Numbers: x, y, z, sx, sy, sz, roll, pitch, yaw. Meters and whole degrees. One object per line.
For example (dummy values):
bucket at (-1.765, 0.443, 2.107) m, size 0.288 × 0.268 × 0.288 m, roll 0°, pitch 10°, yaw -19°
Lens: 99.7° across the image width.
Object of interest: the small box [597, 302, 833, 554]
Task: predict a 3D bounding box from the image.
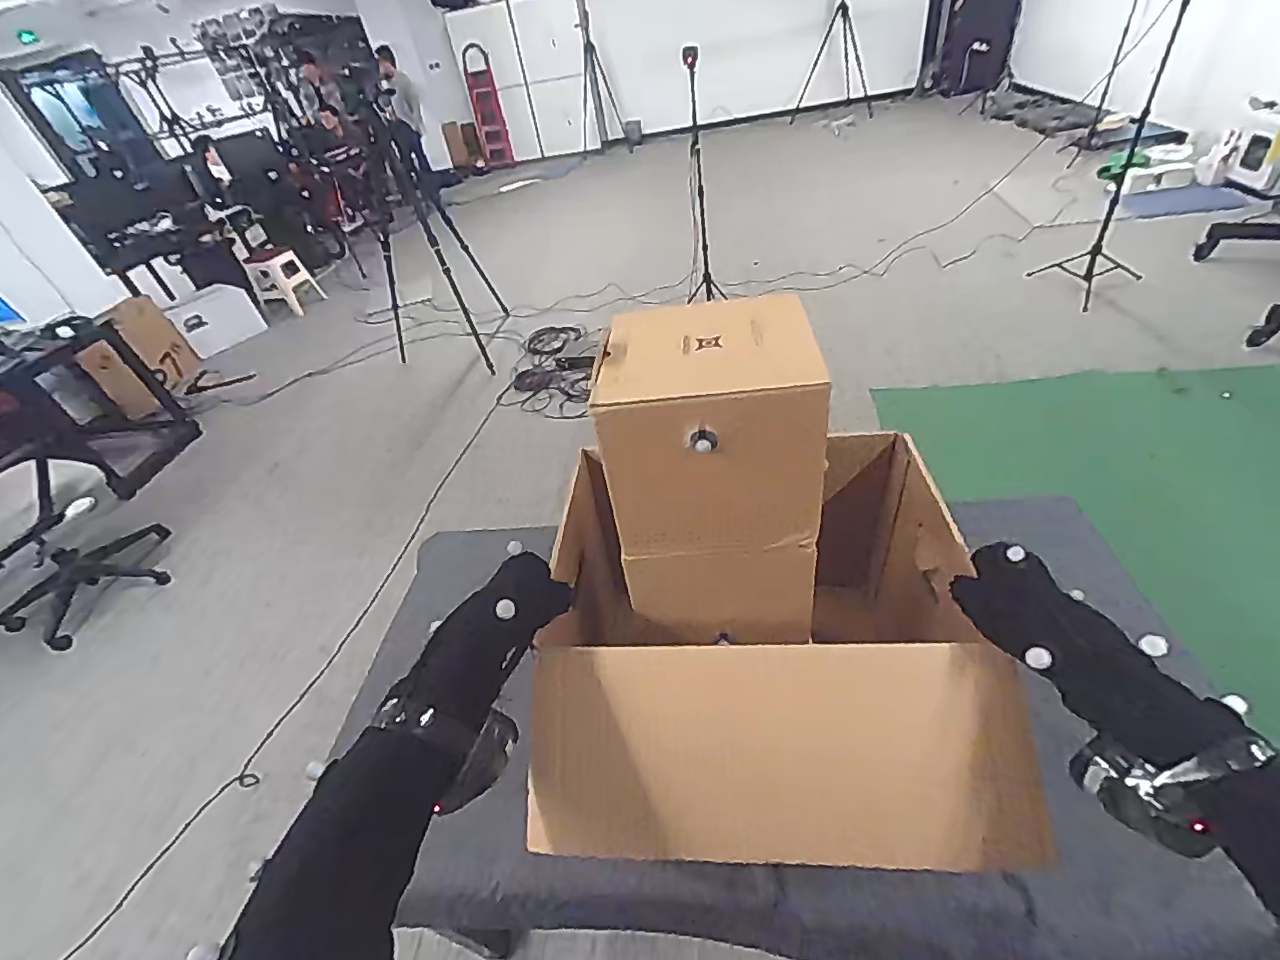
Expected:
small box at (0.069, -0.045, 0.503) m, size 0.179 × 0.176 × 0.168 m, roll -4°, pitch 40°, yaw 7°
